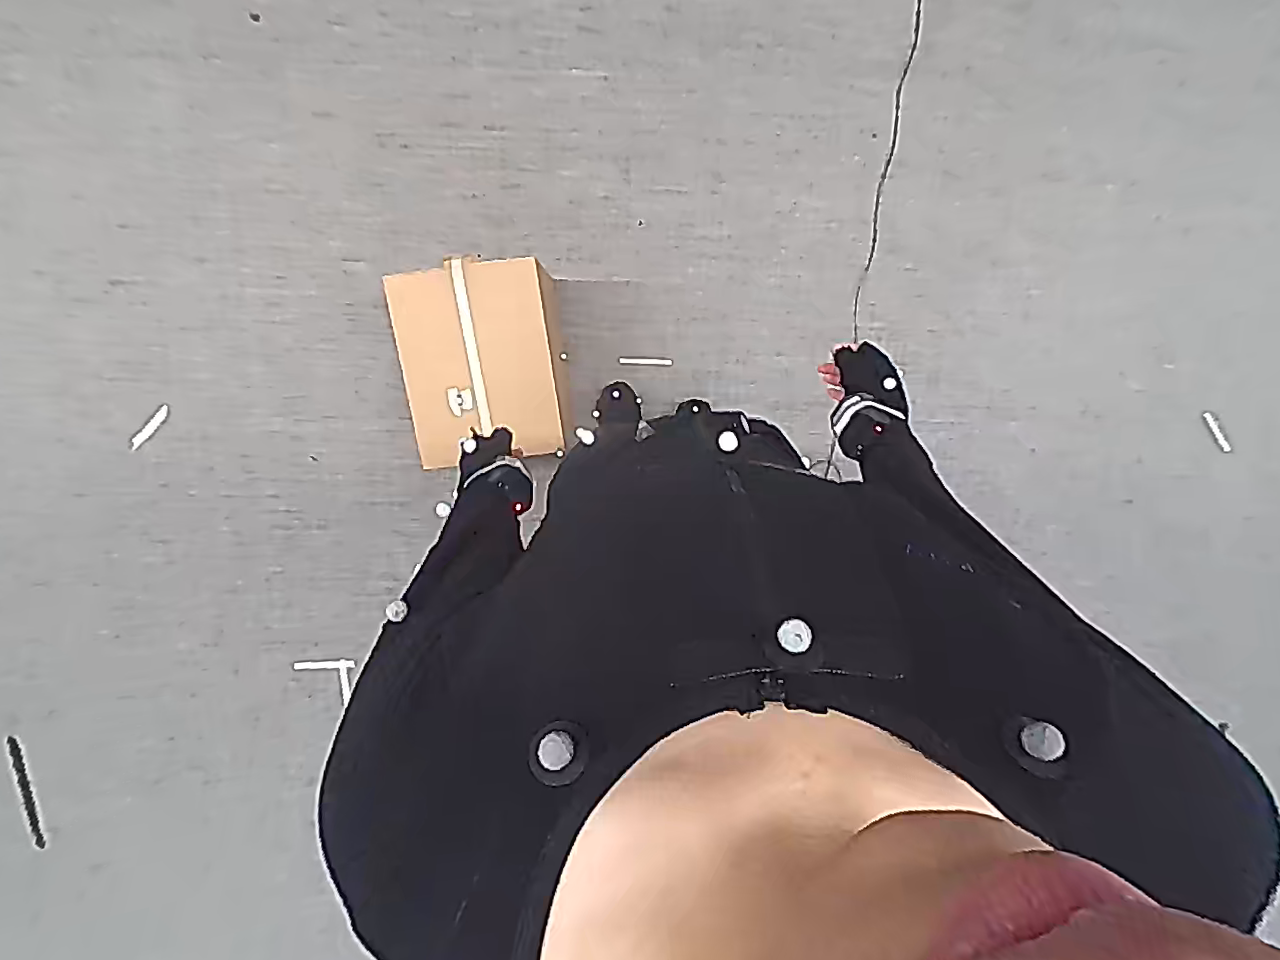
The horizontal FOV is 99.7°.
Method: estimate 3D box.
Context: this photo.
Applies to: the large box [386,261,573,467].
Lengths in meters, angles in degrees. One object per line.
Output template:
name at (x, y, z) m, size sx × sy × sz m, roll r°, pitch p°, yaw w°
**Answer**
large box at (-0.352, -0.273, 1.297) m, size 0.320 × 0.320 × 0.408 m, roll -8°, pitch 103°, yaw 0°
